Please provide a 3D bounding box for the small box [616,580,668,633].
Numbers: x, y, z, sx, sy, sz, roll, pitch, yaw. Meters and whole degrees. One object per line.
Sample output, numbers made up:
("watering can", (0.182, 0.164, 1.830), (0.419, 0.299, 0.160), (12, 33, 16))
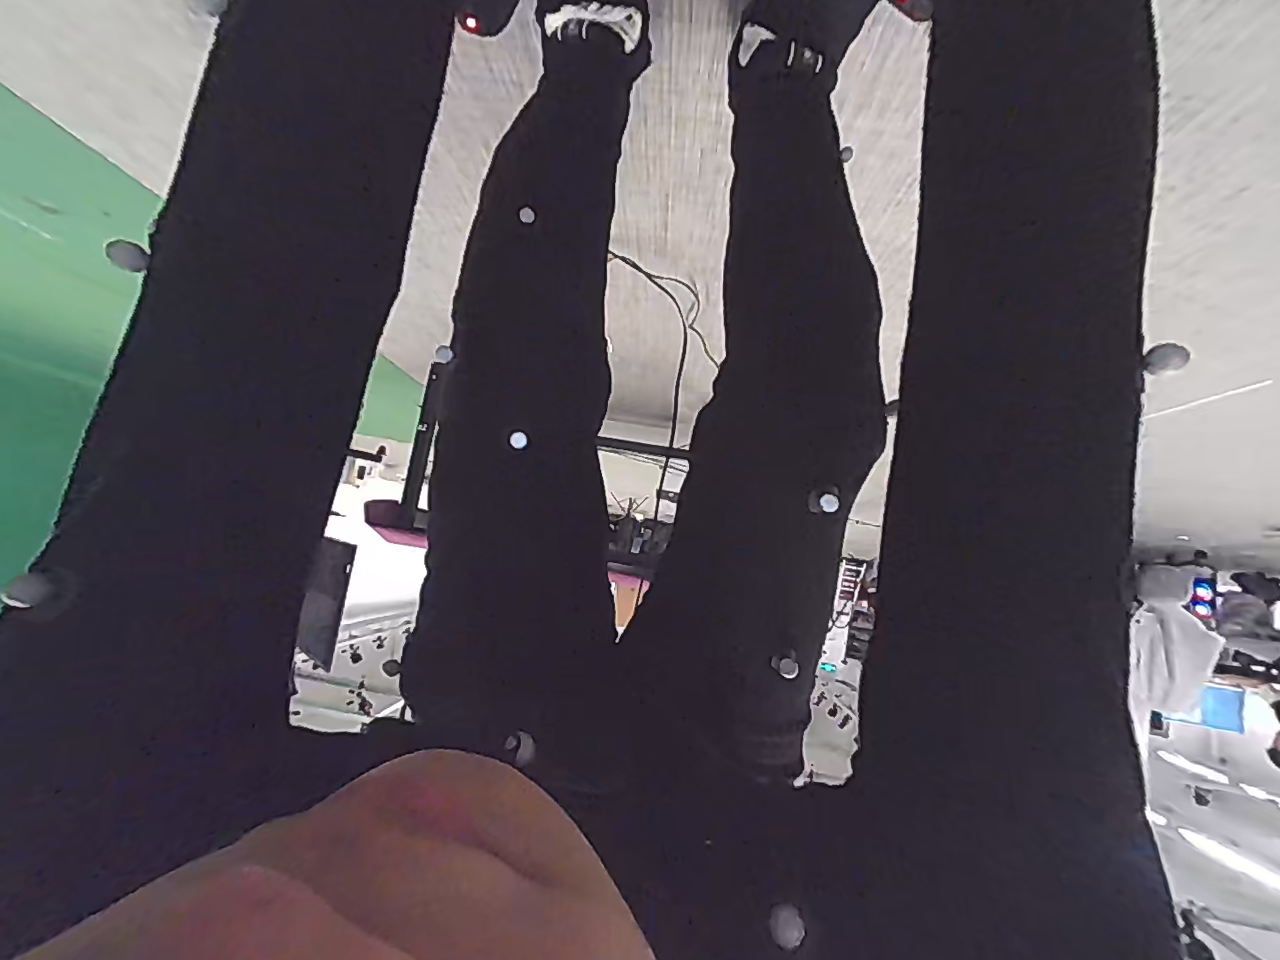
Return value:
("small box", (0.010, 0.490, 2.124), (0.168, 0.176, 0.179), (10, 175, 9))
